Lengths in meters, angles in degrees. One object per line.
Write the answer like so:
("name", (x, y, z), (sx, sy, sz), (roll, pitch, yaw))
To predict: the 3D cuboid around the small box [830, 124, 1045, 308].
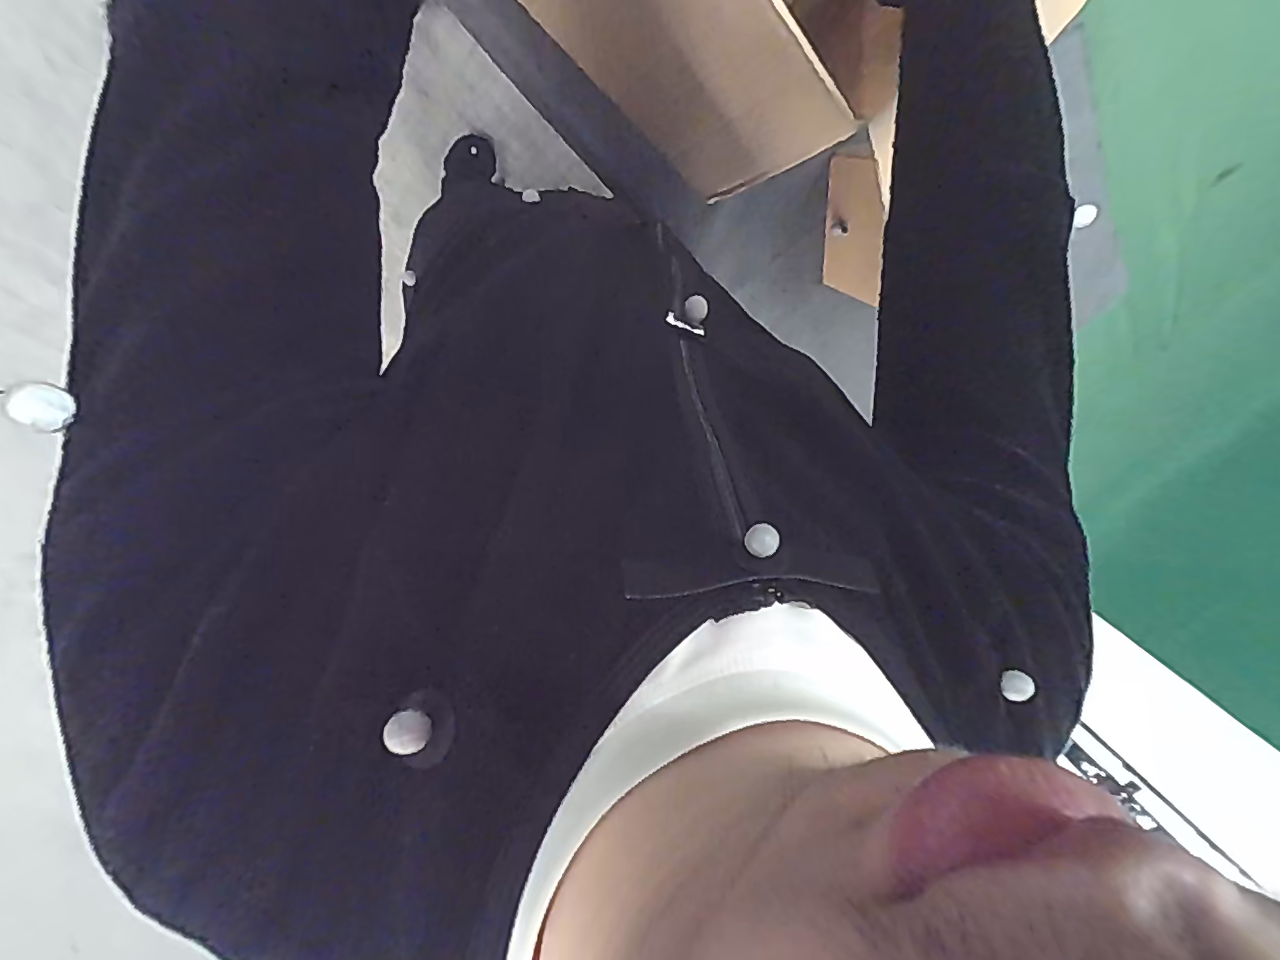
("small box", (0.373, -0.354, 0.719), (0.168, 0.176, 0.179), (-16, 128, -9))
